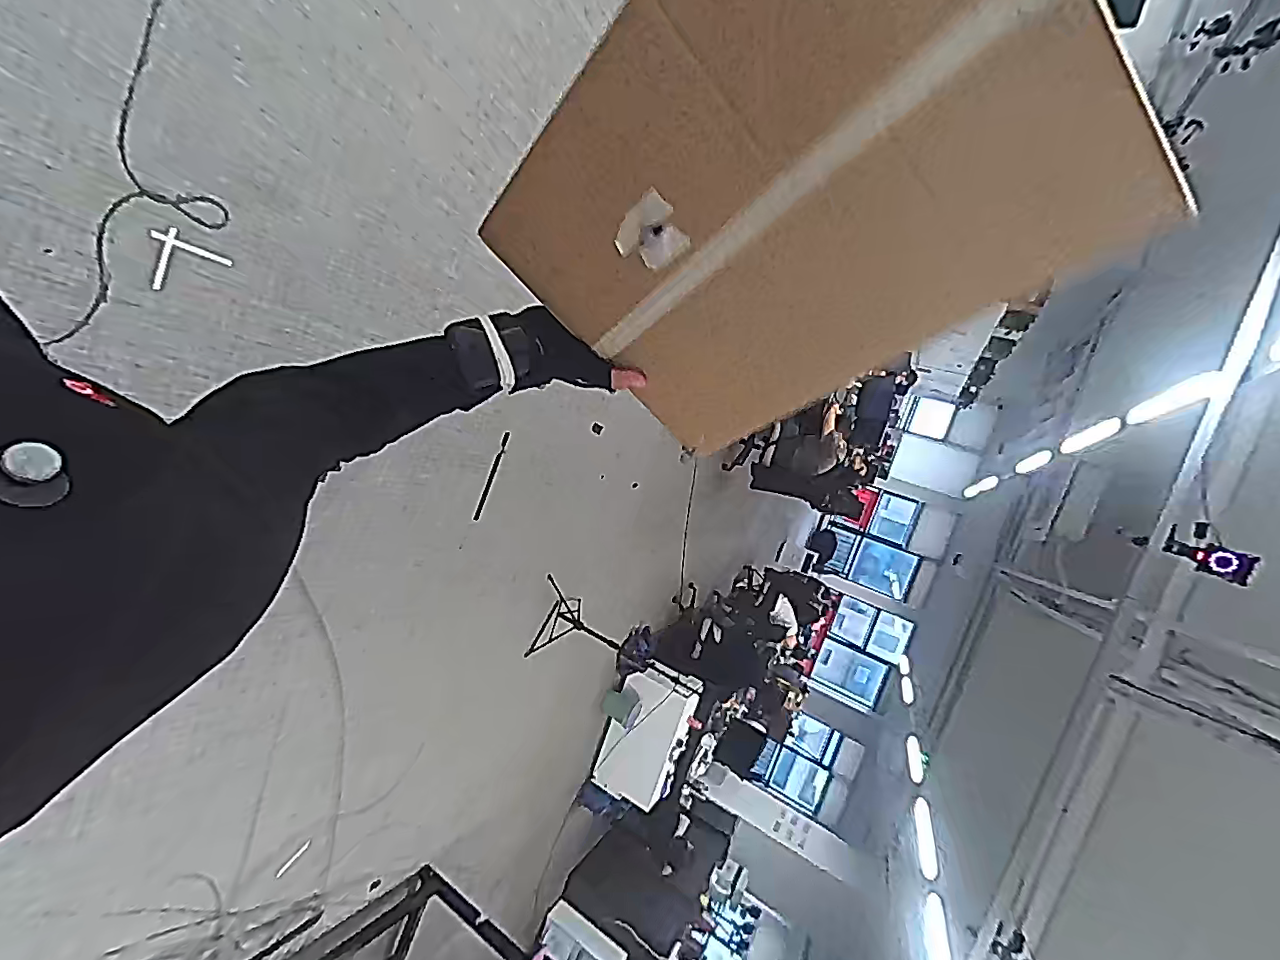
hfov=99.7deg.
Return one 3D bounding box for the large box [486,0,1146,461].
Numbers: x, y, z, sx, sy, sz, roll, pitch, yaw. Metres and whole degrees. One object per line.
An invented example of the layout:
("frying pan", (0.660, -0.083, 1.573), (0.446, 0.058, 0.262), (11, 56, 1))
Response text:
("large box", (0.136, -0.279, 0.501), (0.320, 0.408, 0.320), (46, 51, -18))
